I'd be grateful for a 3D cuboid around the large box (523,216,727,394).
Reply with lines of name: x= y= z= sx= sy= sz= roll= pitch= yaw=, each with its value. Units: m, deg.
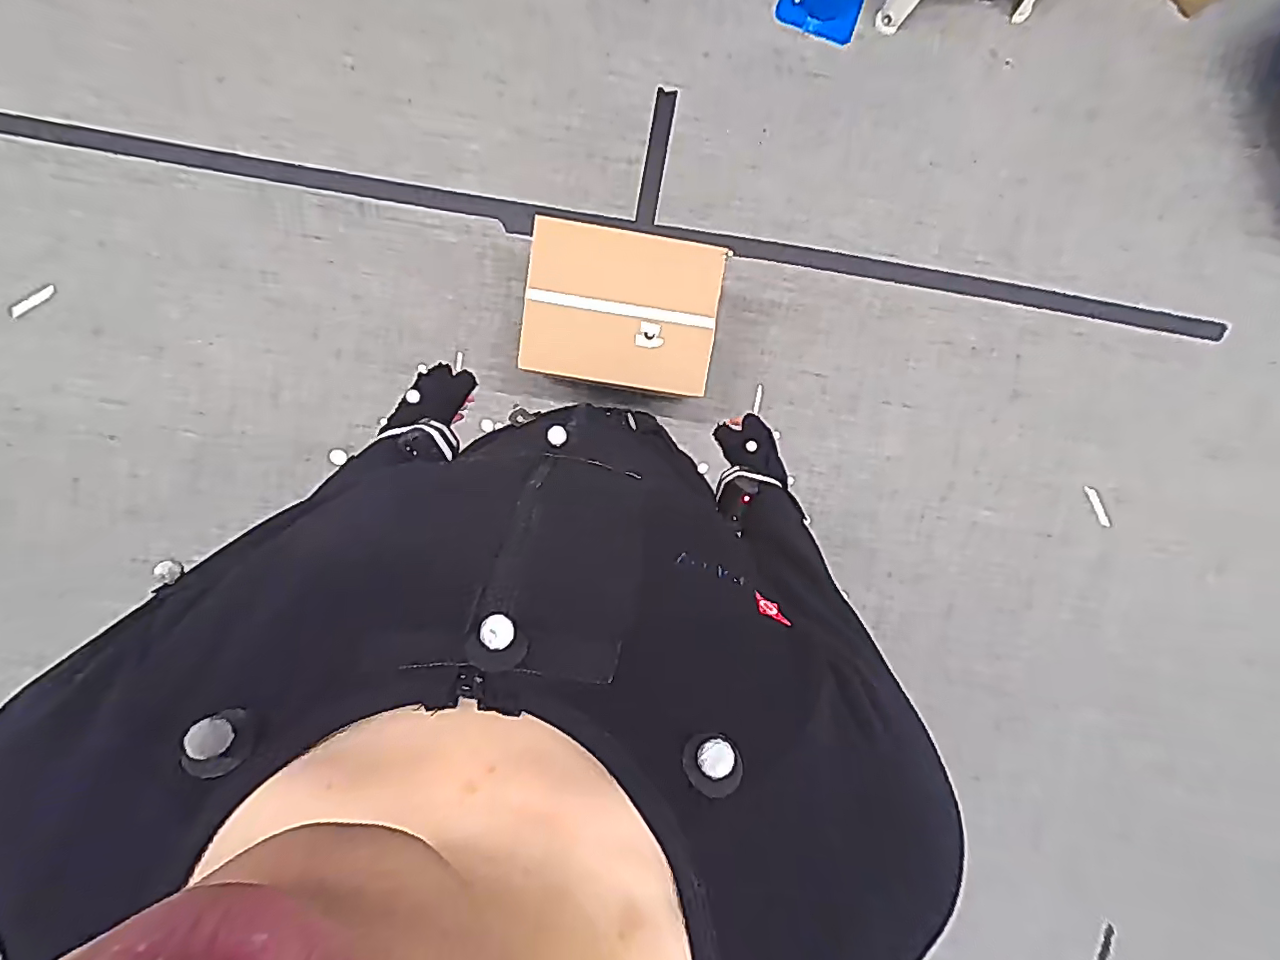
large box: x=-0.042 y=-0.386 z=1.280 sx=0.408 sy=0.320 sz=0.320 roll=8 pitch=98 yaw=-4
